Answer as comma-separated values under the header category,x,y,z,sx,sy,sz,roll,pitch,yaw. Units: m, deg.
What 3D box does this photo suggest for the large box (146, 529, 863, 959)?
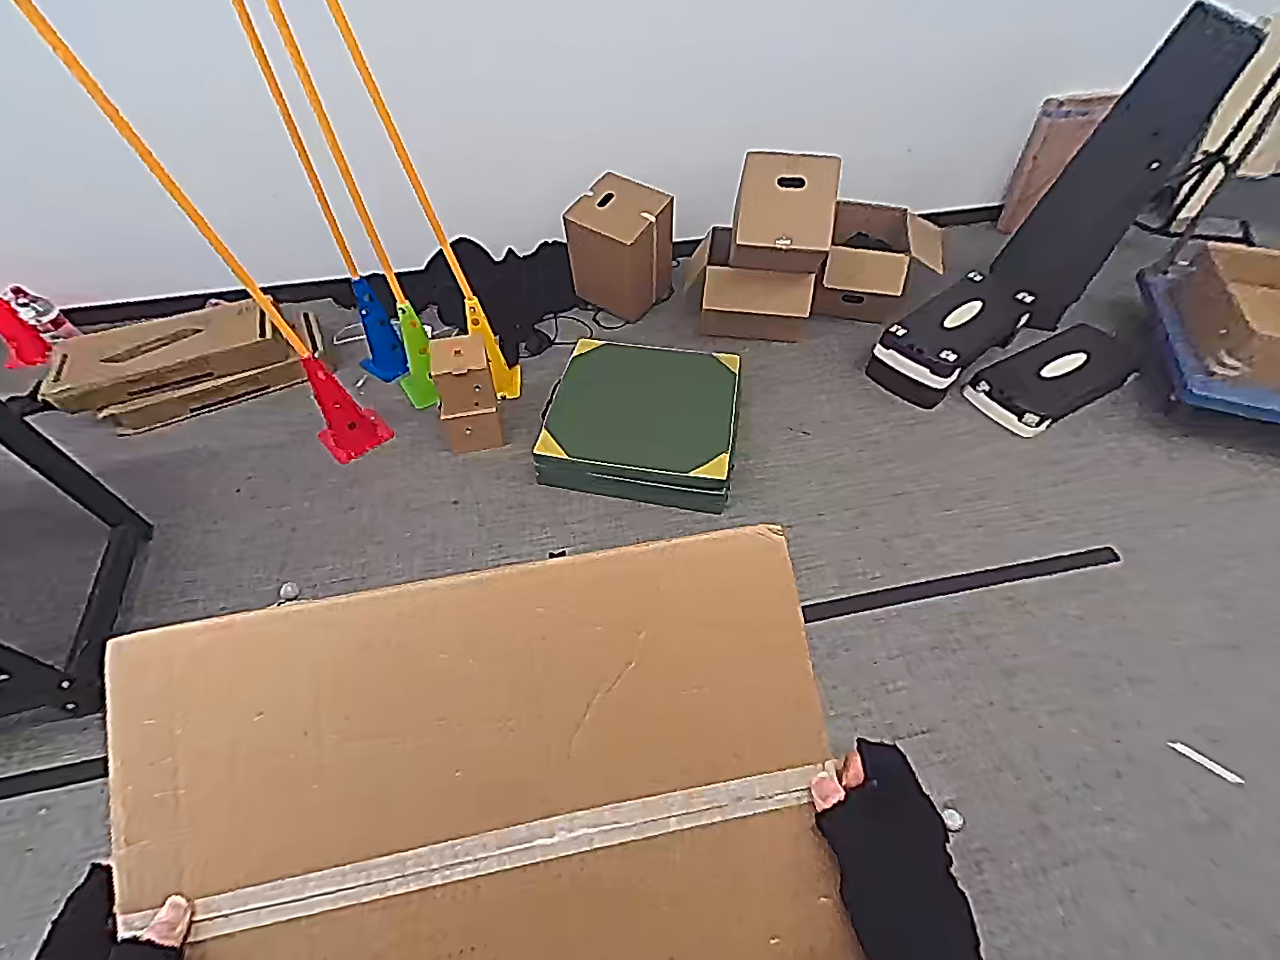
category,x,y,z,sx,sy,sz,roll,pitch,yaw
large box,-0.090,0.237,0.469,0.408,0.320,0.320,-9,83,-5
